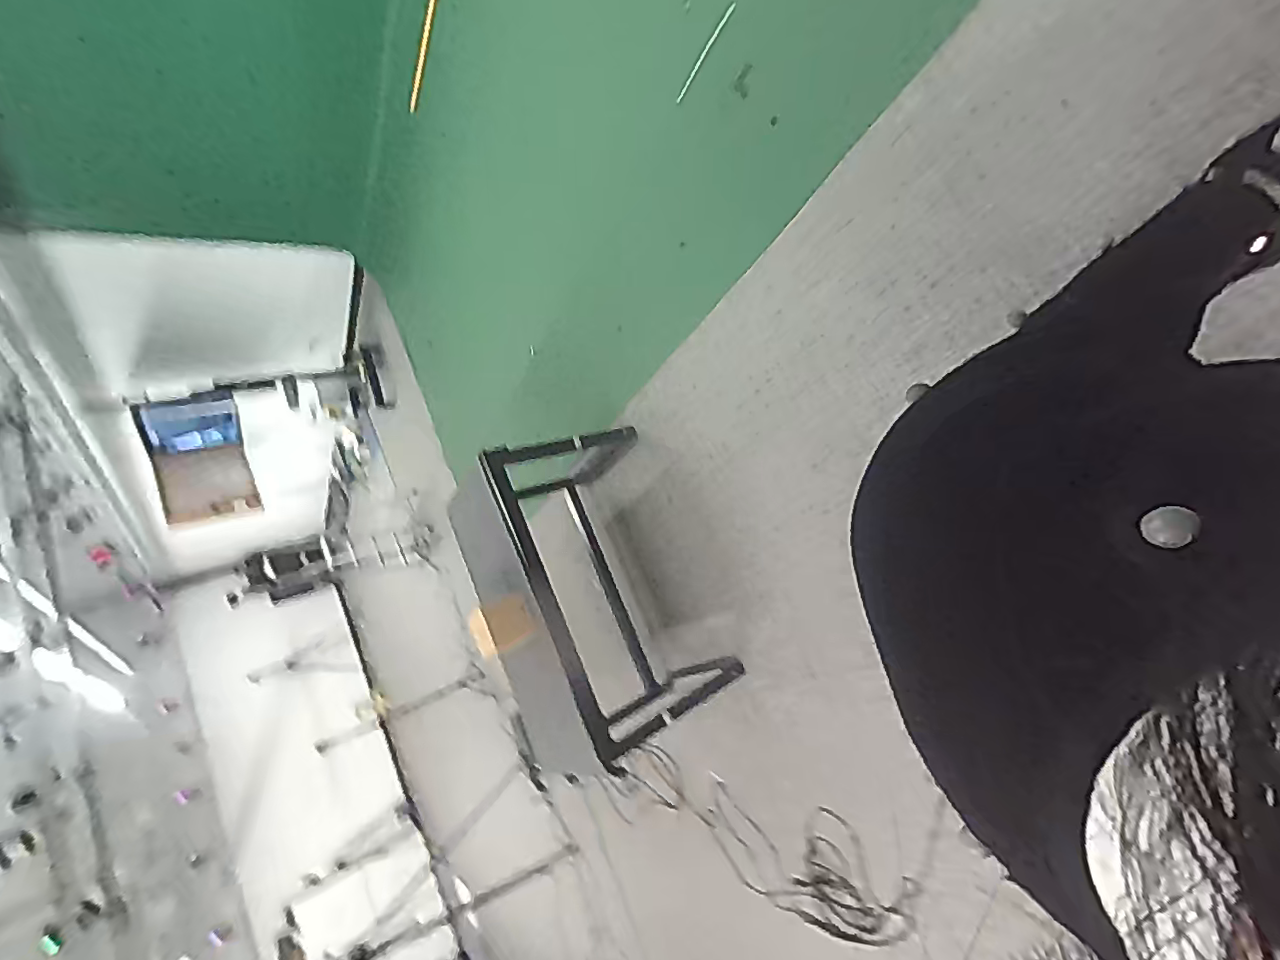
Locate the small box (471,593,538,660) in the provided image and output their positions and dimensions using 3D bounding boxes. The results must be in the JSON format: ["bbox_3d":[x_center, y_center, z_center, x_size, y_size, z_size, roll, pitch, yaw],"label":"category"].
[{"bbox_3d":[-0.493,0.534,1.972,0.179,0.176,0.168,-44,68,49],"label":"small box"}]
